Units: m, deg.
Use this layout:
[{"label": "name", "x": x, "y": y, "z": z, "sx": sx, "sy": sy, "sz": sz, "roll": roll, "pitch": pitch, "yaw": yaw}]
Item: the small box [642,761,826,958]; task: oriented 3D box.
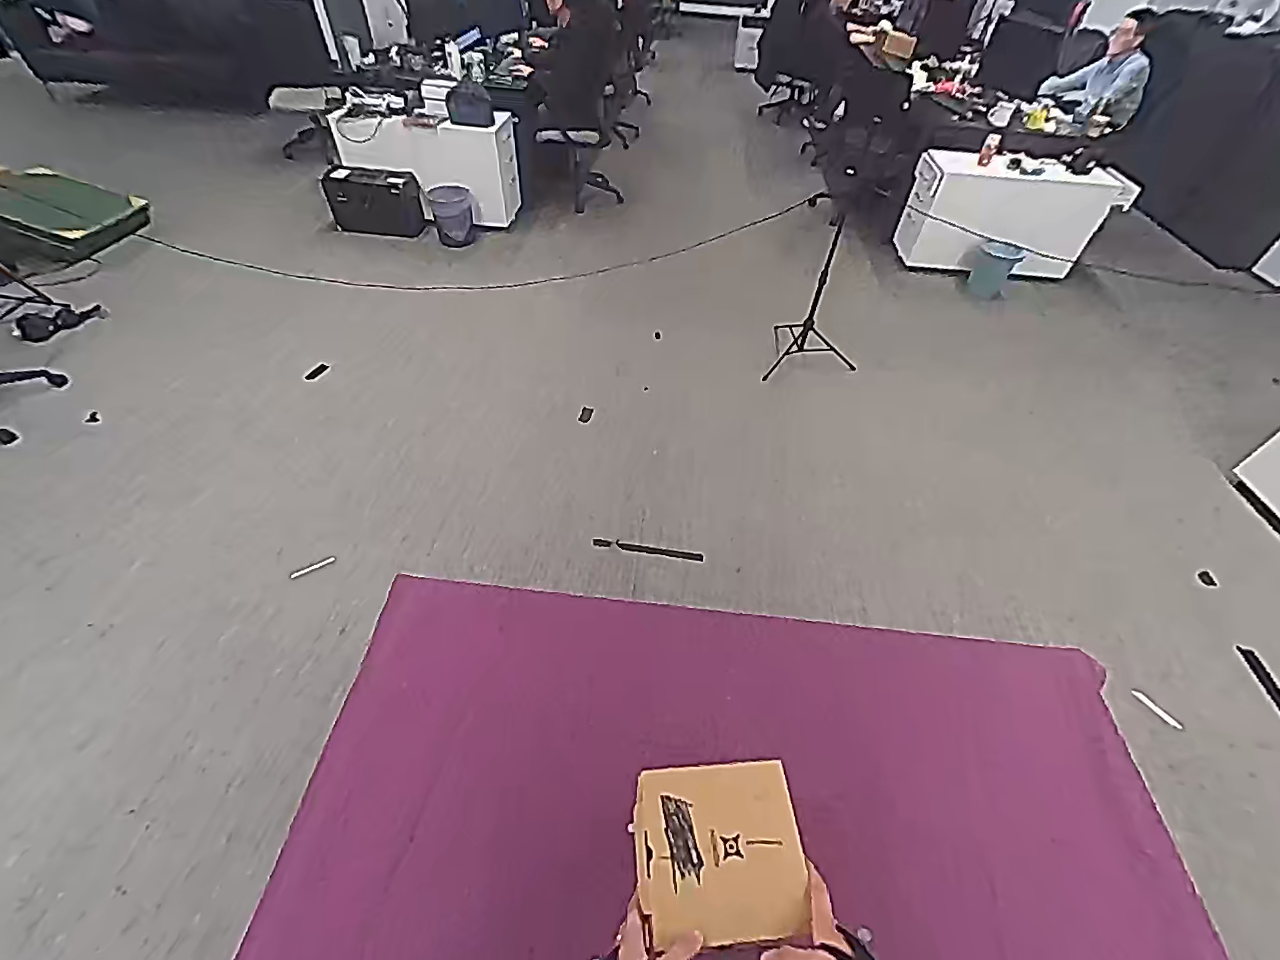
[{"label": "small box", "x": 0.094, "y": 0.456, "z": 0.649, "sx": 0.179, "sy": 0.176, "sz": 0.168, "roll": -3, "pitch": 48, "yaw": -5}]
